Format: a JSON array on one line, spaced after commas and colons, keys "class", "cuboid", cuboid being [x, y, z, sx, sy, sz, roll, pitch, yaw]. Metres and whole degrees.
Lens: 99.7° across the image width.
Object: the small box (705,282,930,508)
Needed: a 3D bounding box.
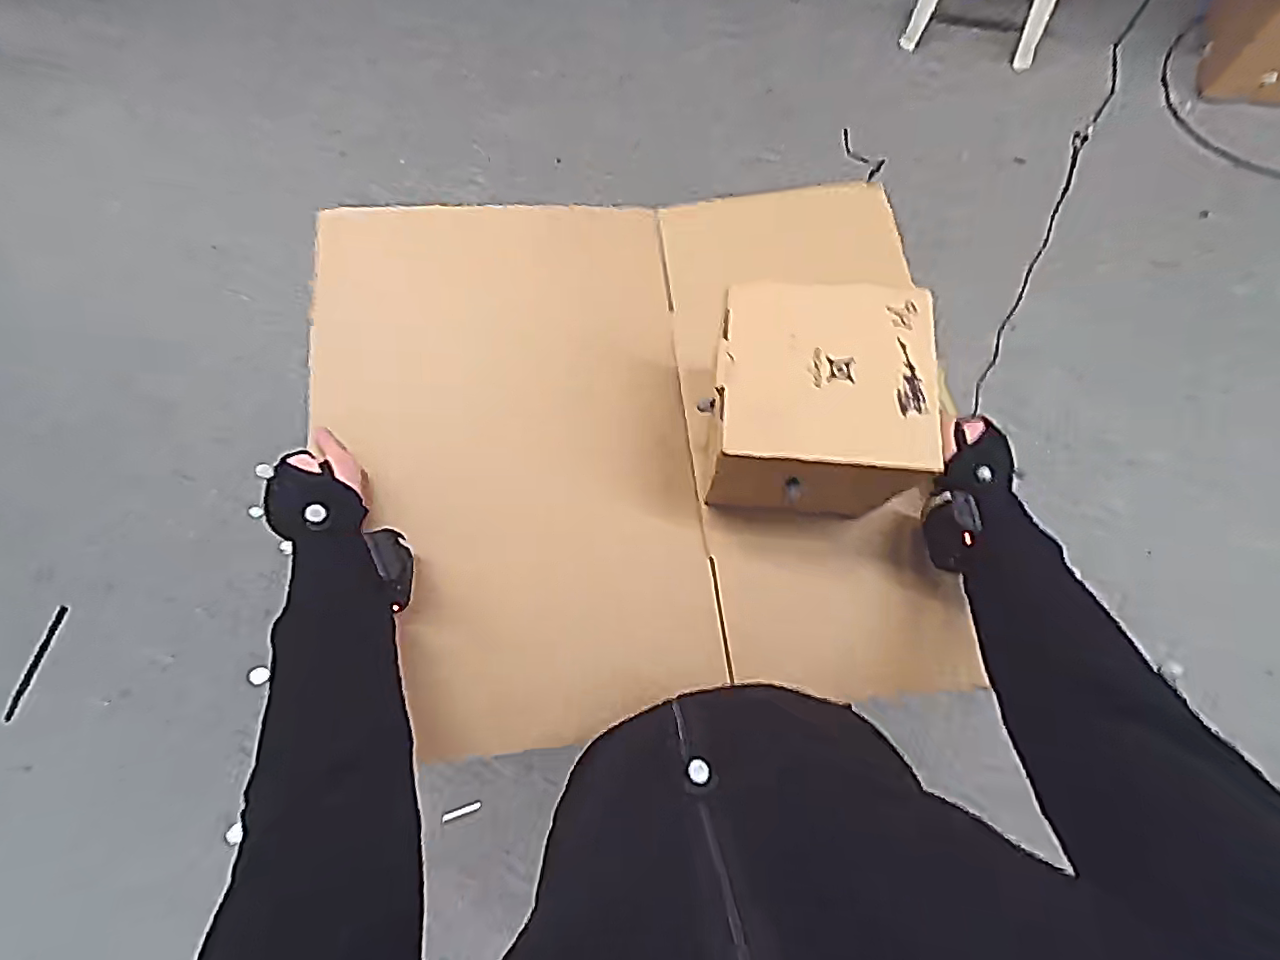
[{"class": "small box", "cuboid": [0.157, -0.072, 0.533, 0.179, 0.176, 0.168, 4, 74, 5]}]
